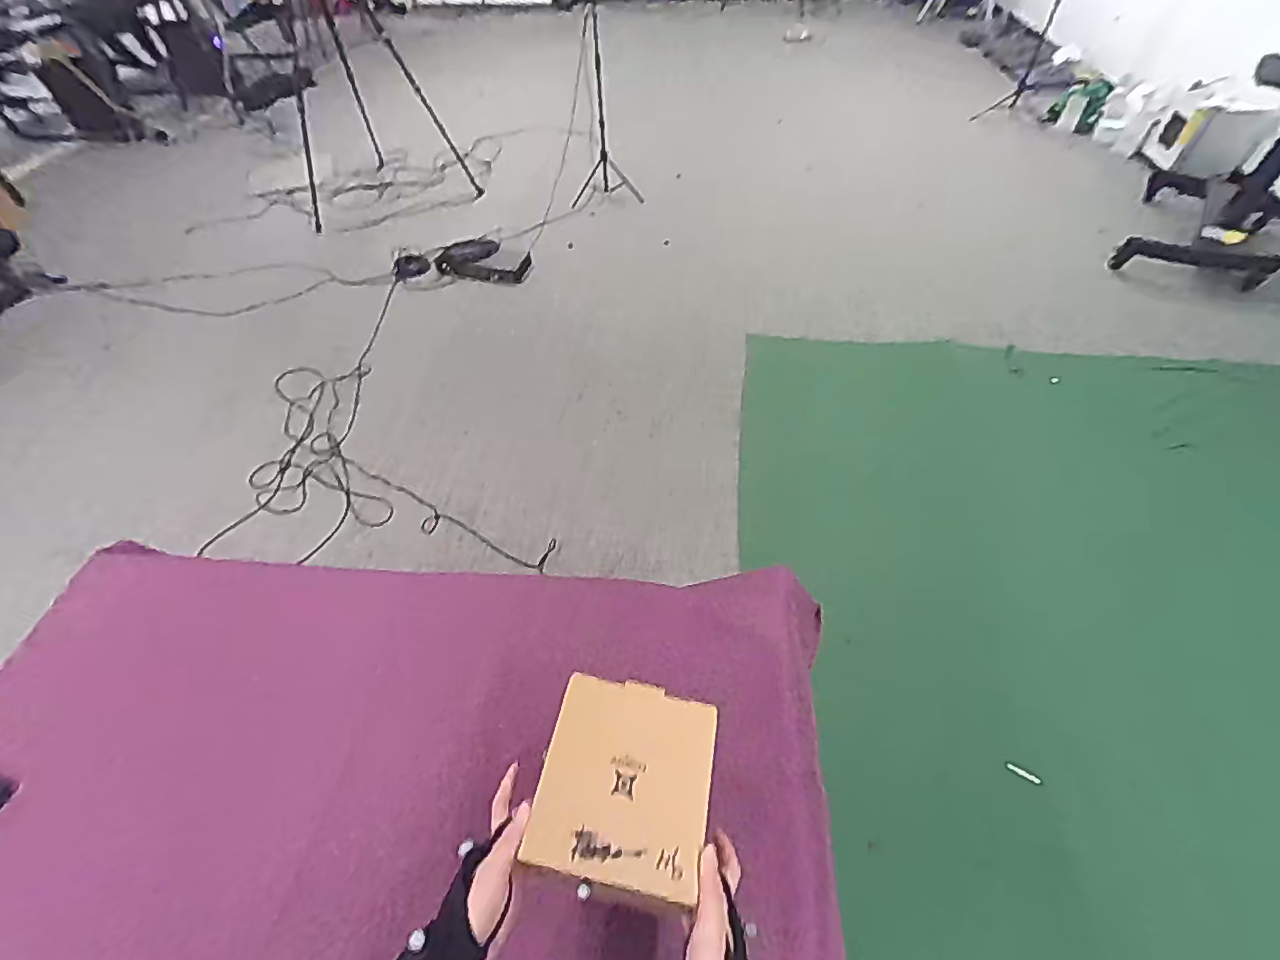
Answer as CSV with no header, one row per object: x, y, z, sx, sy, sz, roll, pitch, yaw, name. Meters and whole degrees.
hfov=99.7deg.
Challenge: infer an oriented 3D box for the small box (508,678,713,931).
-0.027,0.345,0.576,0.168,0.176,0.179,12,47,5,small box
